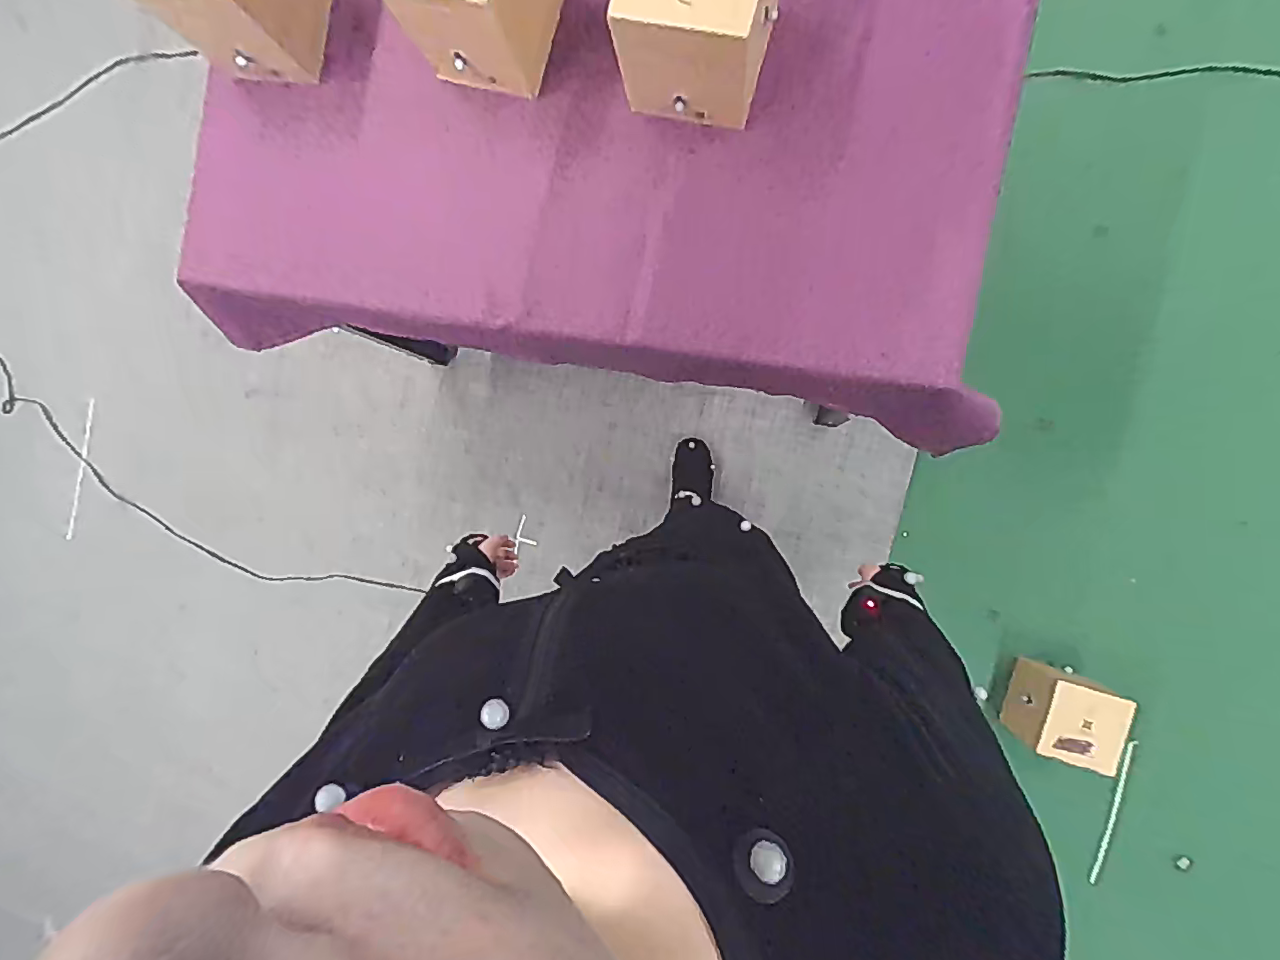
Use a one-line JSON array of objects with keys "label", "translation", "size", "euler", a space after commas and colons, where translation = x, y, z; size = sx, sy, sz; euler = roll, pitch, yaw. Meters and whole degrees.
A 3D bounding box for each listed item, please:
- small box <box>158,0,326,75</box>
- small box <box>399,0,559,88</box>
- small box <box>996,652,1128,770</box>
[{"label": "small box", "translation": [-0.577, -0.727, 0.765], "size": [0.168, 0.176, 0.179], "euler": [11, 93, 8]}, {"label": "small box", "translation": [-0.216, -0.675, 0.714], "size": [0.168, 0.176, 0.179], "euler": [18, 95, 8]}, {"label": "small box", "translation": [0.986, 0.538, 1.284], "size": [0.168, 0.176, 0.179], "euler": [16, 92, 8]}]
